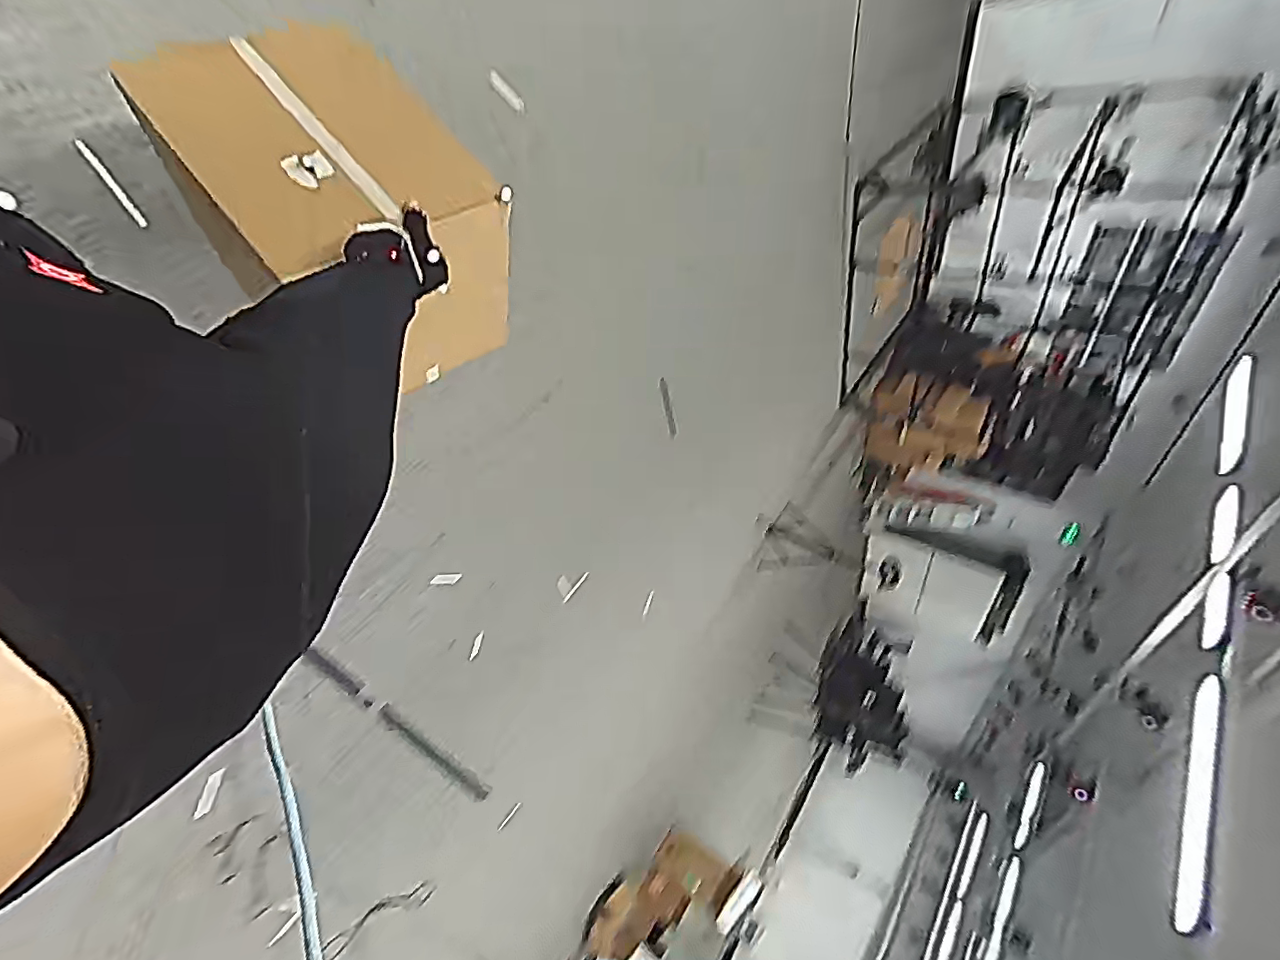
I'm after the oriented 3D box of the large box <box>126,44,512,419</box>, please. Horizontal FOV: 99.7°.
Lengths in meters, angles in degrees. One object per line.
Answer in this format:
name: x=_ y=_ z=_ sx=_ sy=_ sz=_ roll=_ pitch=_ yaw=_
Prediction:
large box: x=-0.458 y=-0.380 z=0.854 sx=0.320 sy=0.408 sz=0.320 roll=-37 pitch=170 yaw=-26
